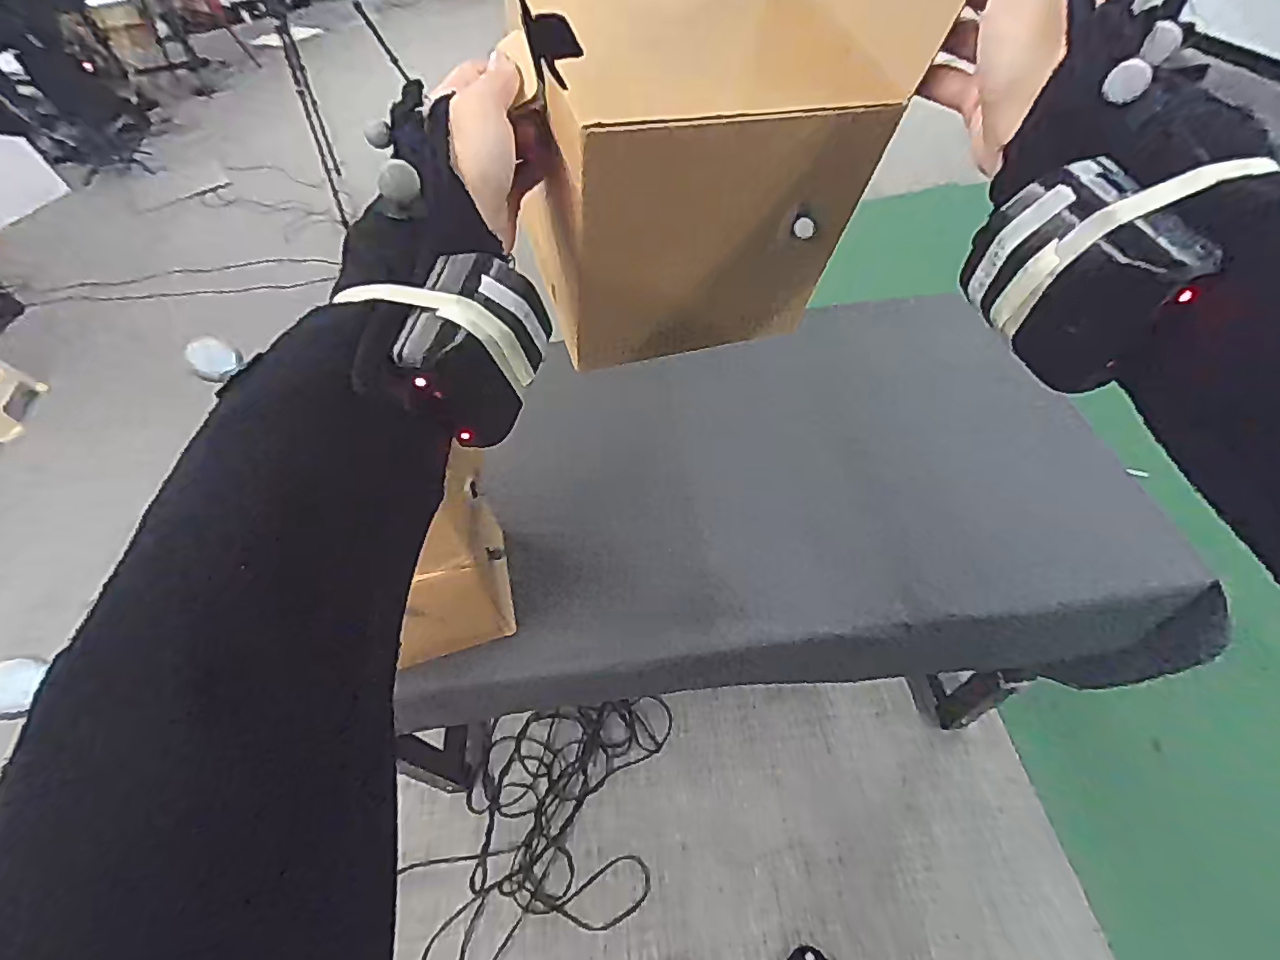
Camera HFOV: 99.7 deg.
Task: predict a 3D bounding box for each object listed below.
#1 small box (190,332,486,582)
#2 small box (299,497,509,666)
[{"bbox_3d":[-0.267,-0.016,0.529,0.179,0.176,0.168,-9,52,-1],"label":"small box"},{"bbox_3d":[-0.264,0.097,0.647,0.179,0.176,0.168,-16,51,-6],"label":"small box"}]
